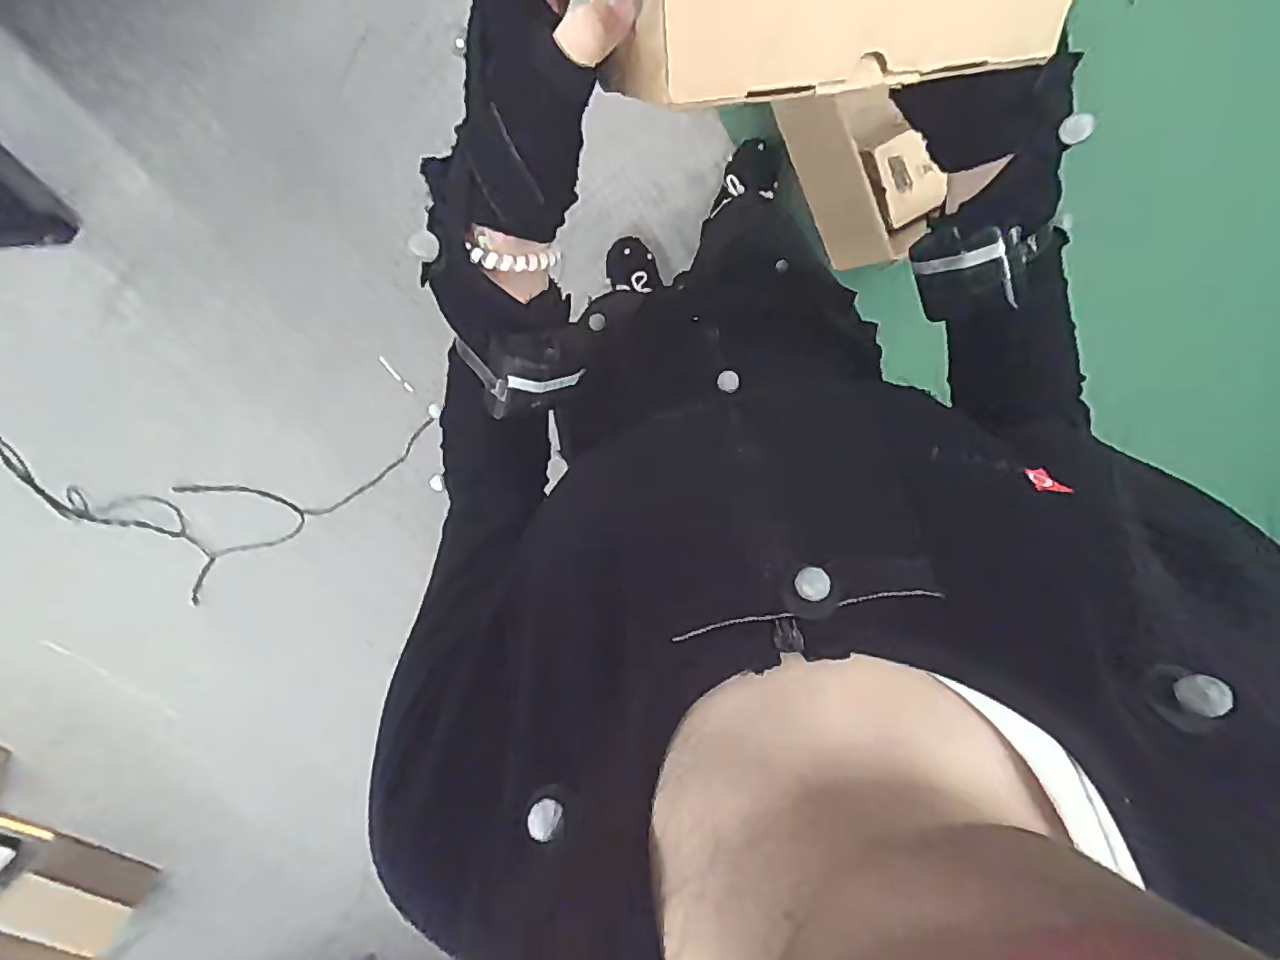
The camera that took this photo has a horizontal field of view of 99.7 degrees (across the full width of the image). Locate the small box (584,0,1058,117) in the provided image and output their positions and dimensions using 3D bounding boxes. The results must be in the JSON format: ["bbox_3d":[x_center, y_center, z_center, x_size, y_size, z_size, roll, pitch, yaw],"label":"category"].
[{"bbox_3d":[0.060,-0.270,0.223,0.168,0.176,0.179,-13,131,-6],"label":"small box"}]
